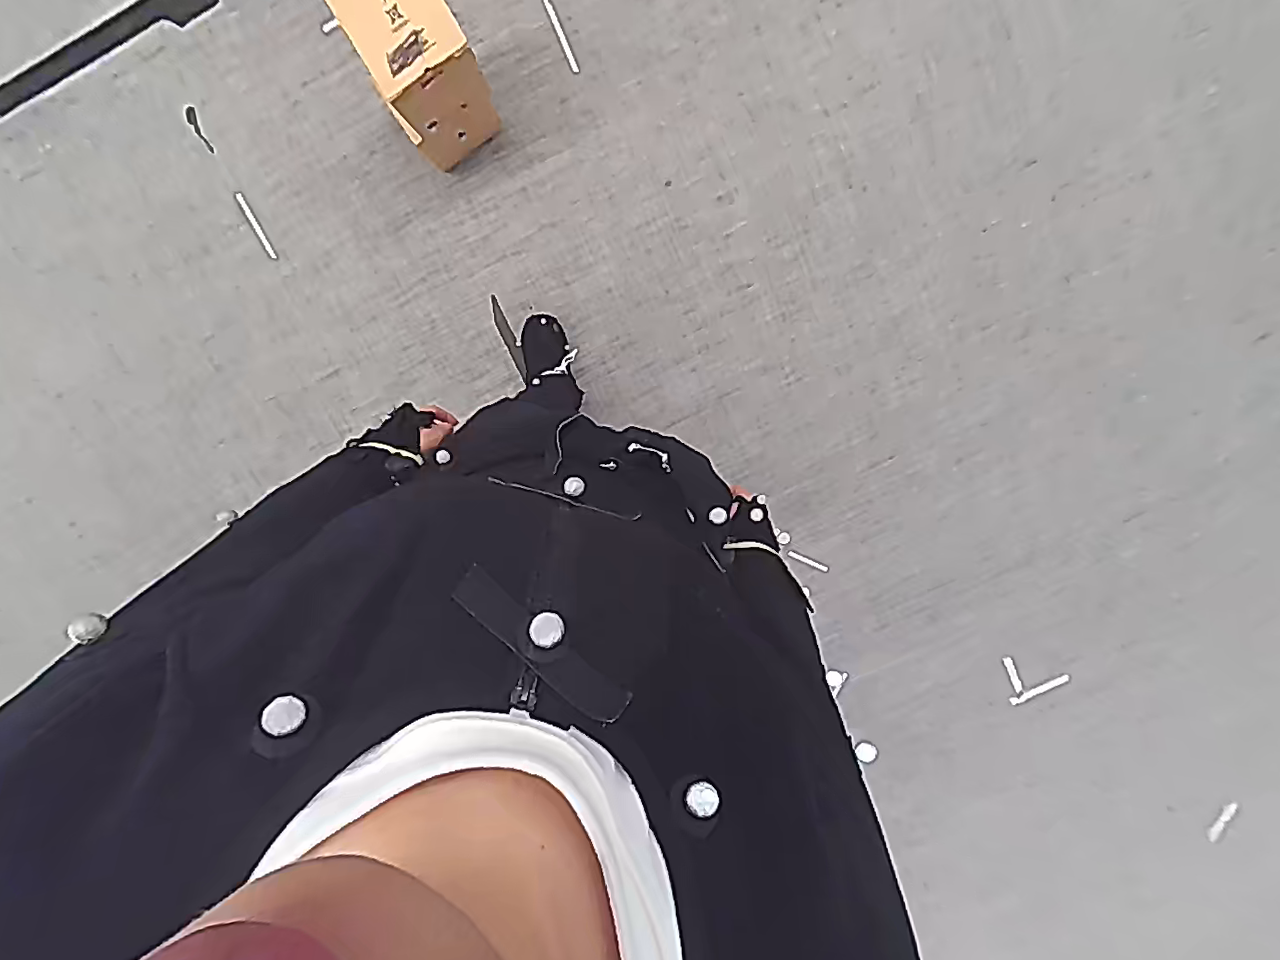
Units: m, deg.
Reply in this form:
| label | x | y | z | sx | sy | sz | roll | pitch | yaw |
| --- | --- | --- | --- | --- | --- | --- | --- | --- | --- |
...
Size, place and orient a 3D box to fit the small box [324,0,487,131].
| label | x | y | z | sx | sy | sz | roll | pitch | yaw |
| --- | --- | --- | --- | --- | --- | --- | --- | --- | --- |
| small box | -0.396 | -0.754 | 0.949 | 0.168 | 0.176 | 0.179 | -30 | 101 | 5 |
